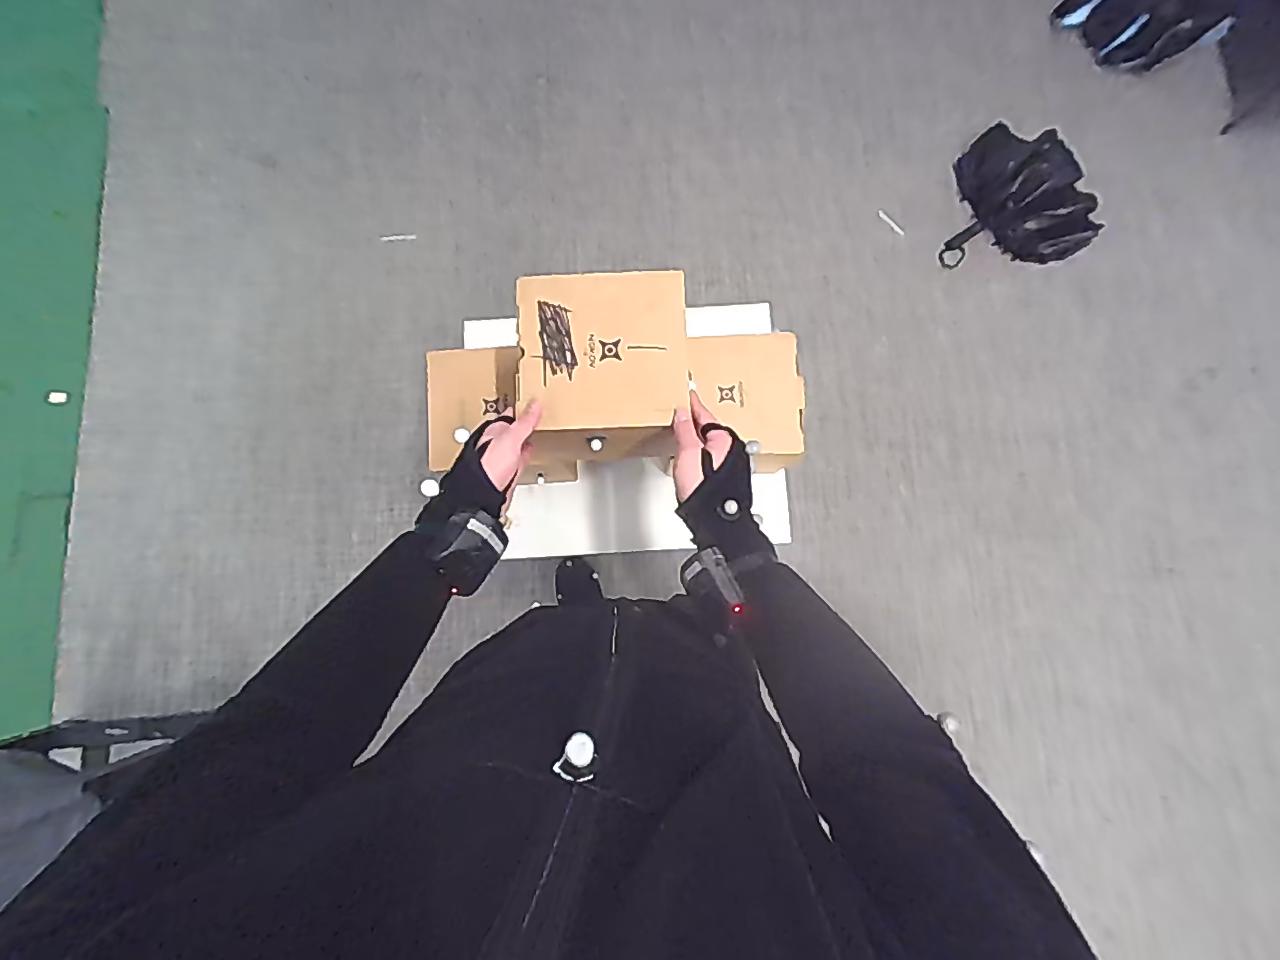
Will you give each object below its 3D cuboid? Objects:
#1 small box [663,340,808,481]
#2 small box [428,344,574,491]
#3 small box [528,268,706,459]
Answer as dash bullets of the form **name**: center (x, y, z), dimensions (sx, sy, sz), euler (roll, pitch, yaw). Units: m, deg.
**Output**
- **small box**: center (0.126, -0.092, 0.782), dimensions (0.179, 0.176, 0.168), euler (-2, 81, -1)
- **small box**: center (-0.186, -0.081, 0.768), dimensions (0.179, 0.176, 0.168), euler (-4, 79, -3)
- **small box**: center (-0.025, -0.120, 0.614), dimensions (0.179, 0.176, 0.168), euler (-1, 81, -2)
